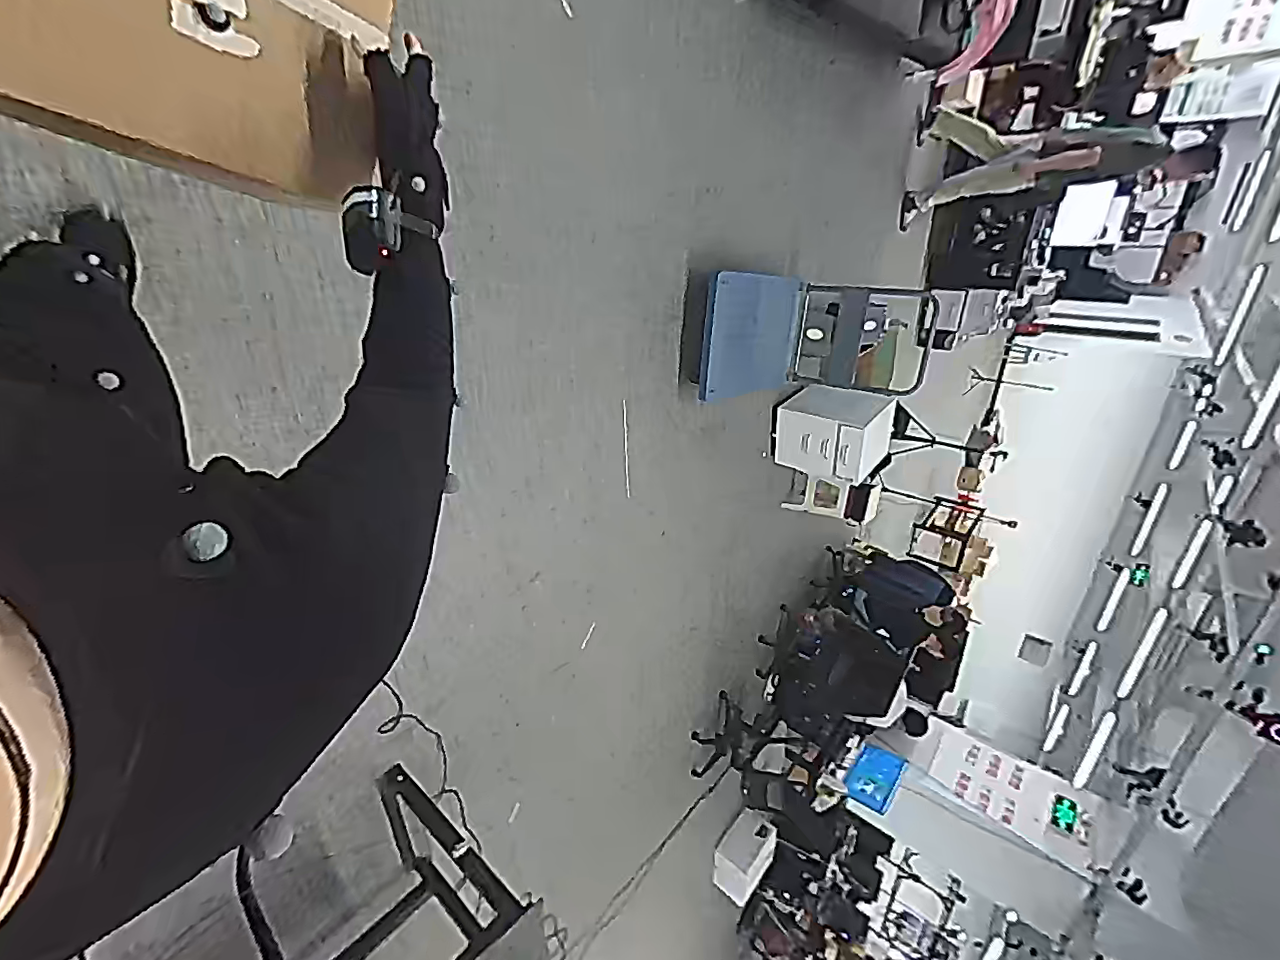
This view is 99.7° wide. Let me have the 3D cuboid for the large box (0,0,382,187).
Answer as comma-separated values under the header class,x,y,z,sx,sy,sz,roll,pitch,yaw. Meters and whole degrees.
class,x,y,z,sx,sy,sz,roll,pitch,yaw
large box,-0.498,-0.498,0.481,0.408,0.320,0.320,-1,113,-49
